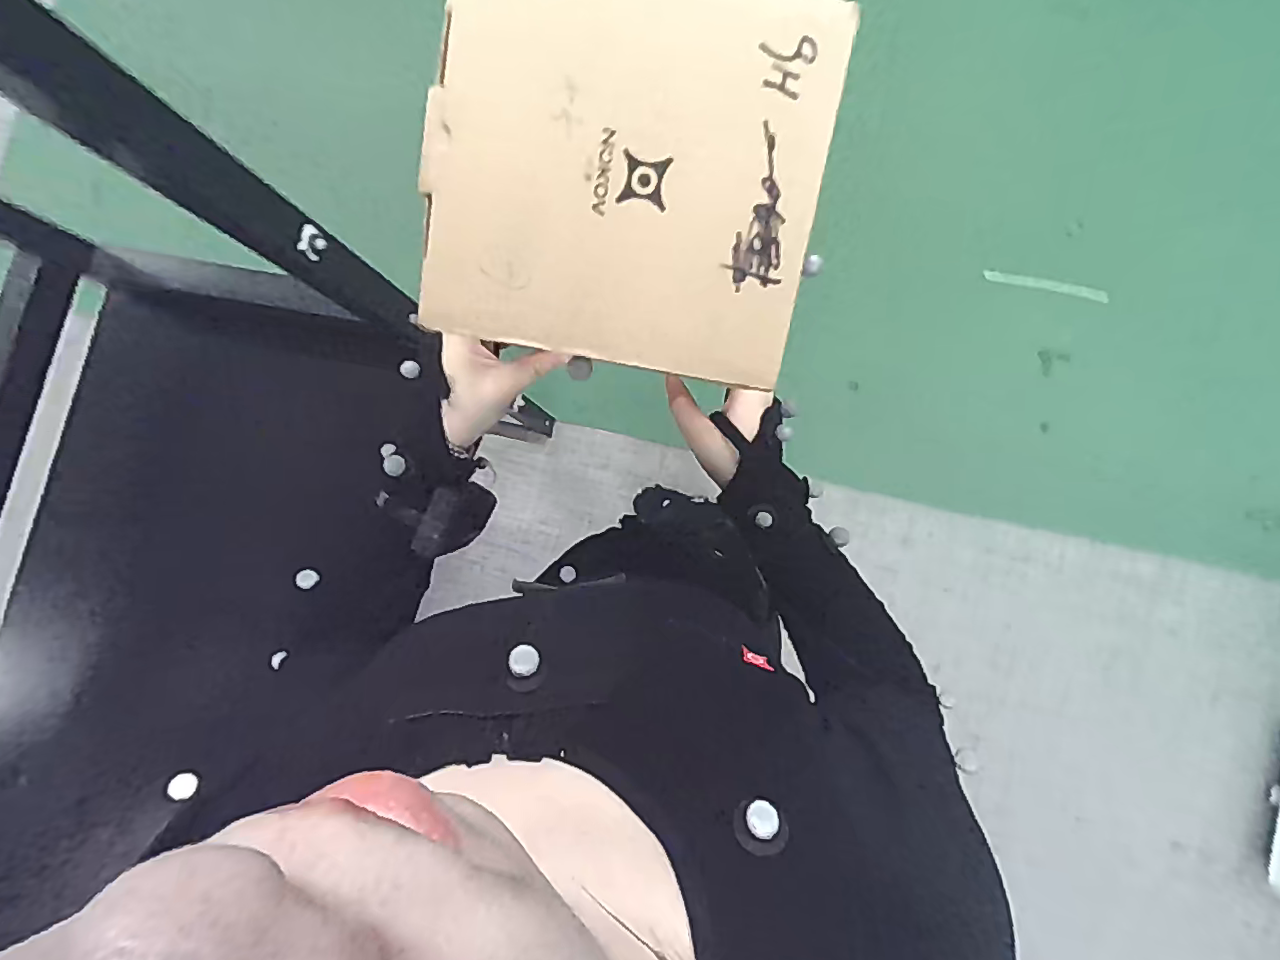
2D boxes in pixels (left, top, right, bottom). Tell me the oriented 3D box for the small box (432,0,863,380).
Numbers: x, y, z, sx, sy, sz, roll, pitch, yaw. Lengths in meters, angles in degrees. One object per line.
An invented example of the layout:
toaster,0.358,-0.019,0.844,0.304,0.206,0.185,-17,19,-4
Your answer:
small box,0.001,-0.156,0.329,0.179,0.176,0.168,11,101,0
